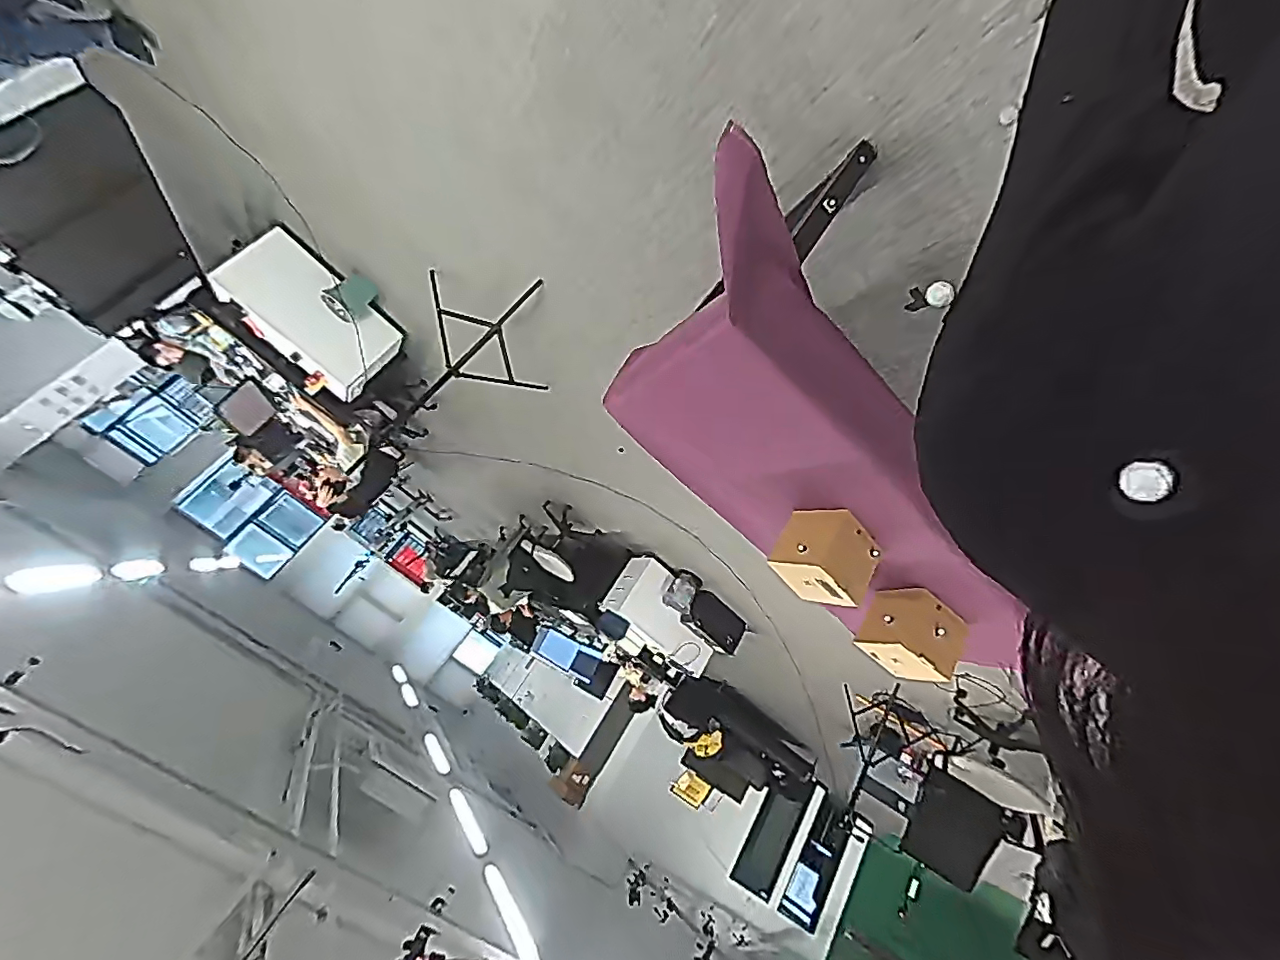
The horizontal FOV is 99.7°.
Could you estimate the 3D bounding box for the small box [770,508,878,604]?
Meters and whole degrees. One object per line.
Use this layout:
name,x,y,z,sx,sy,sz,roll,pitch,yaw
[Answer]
small box,0.461,0.181,1.336,0.168,0.176,0.179,45,156,-20

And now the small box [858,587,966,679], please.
small box,0.708,0.391,1.399,0.168,0.176,0.179,39,156,-6
